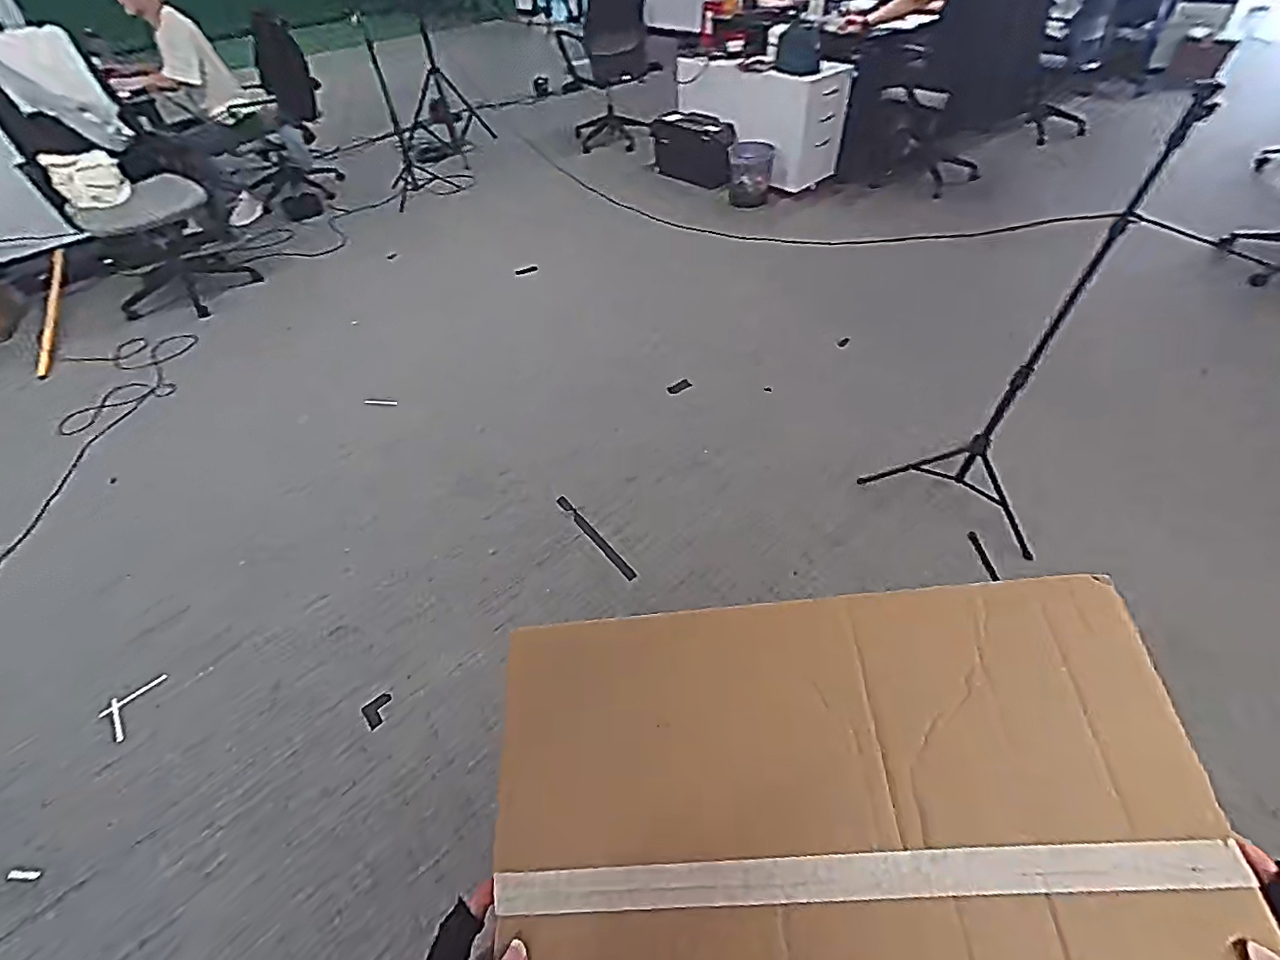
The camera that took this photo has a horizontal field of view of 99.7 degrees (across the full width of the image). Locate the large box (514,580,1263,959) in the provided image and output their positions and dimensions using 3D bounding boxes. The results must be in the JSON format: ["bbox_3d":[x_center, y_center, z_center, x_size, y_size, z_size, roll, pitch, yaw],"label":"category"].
[{"bbox_3d":[0.139,0.295,0.448,0.408,0.320,0.320,-7,64,6],"label":"large box"}]
